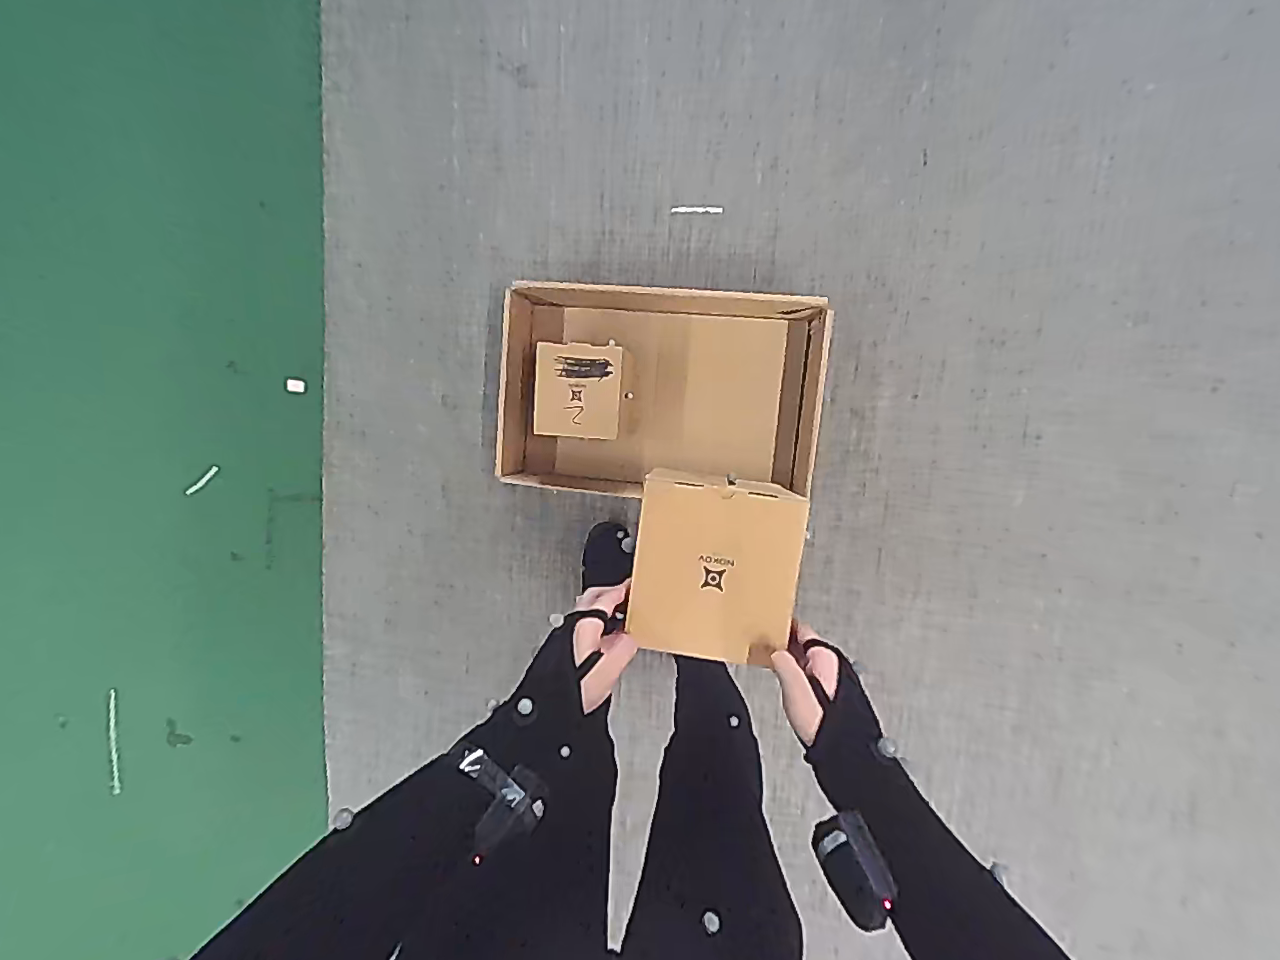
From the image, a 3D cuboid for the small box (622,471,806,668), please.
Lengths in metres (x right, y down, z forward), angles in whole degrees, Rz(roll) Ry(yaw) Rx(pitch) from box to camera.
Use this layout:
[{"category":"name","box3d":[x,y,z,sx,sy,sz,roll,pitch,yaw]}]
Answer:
[{"category":"small box","box3d":[0.081,0.088,0.625,0.168,0.176,0.179,8,93,5]}]
